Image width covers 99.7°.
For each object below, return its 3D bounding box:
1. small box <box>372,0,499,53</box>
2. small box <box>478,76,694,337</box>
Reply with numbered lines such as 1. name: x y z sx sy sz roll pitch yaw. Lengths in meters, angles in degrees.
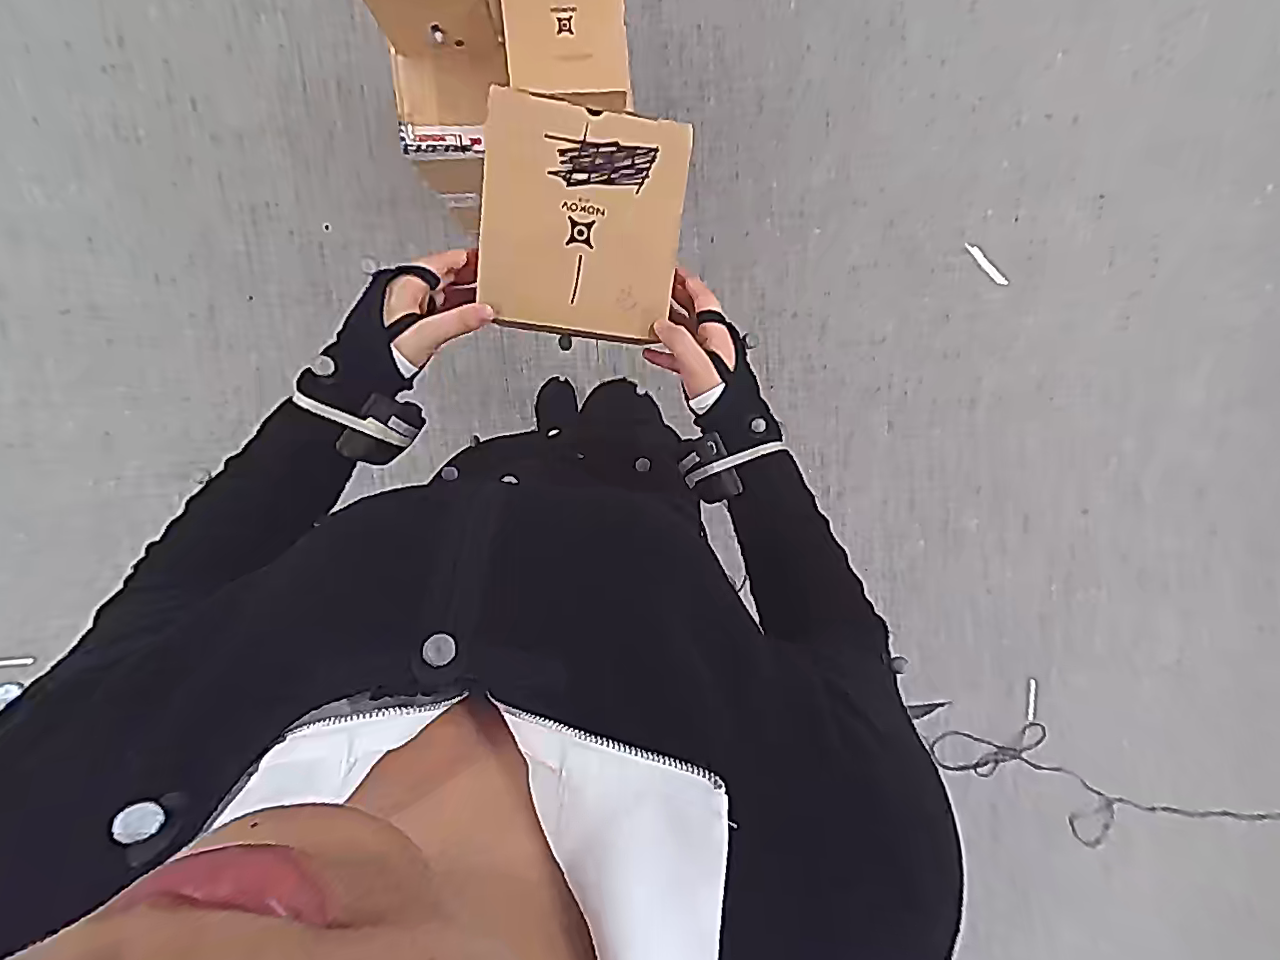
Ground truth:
1. small box: -0.309 -0.761 0.776 0.168 0.176 0.179 -5 101 -2
2. small box: -0.056 -0.241 0.526 0.168 0.176 0.179 6 103 -8
